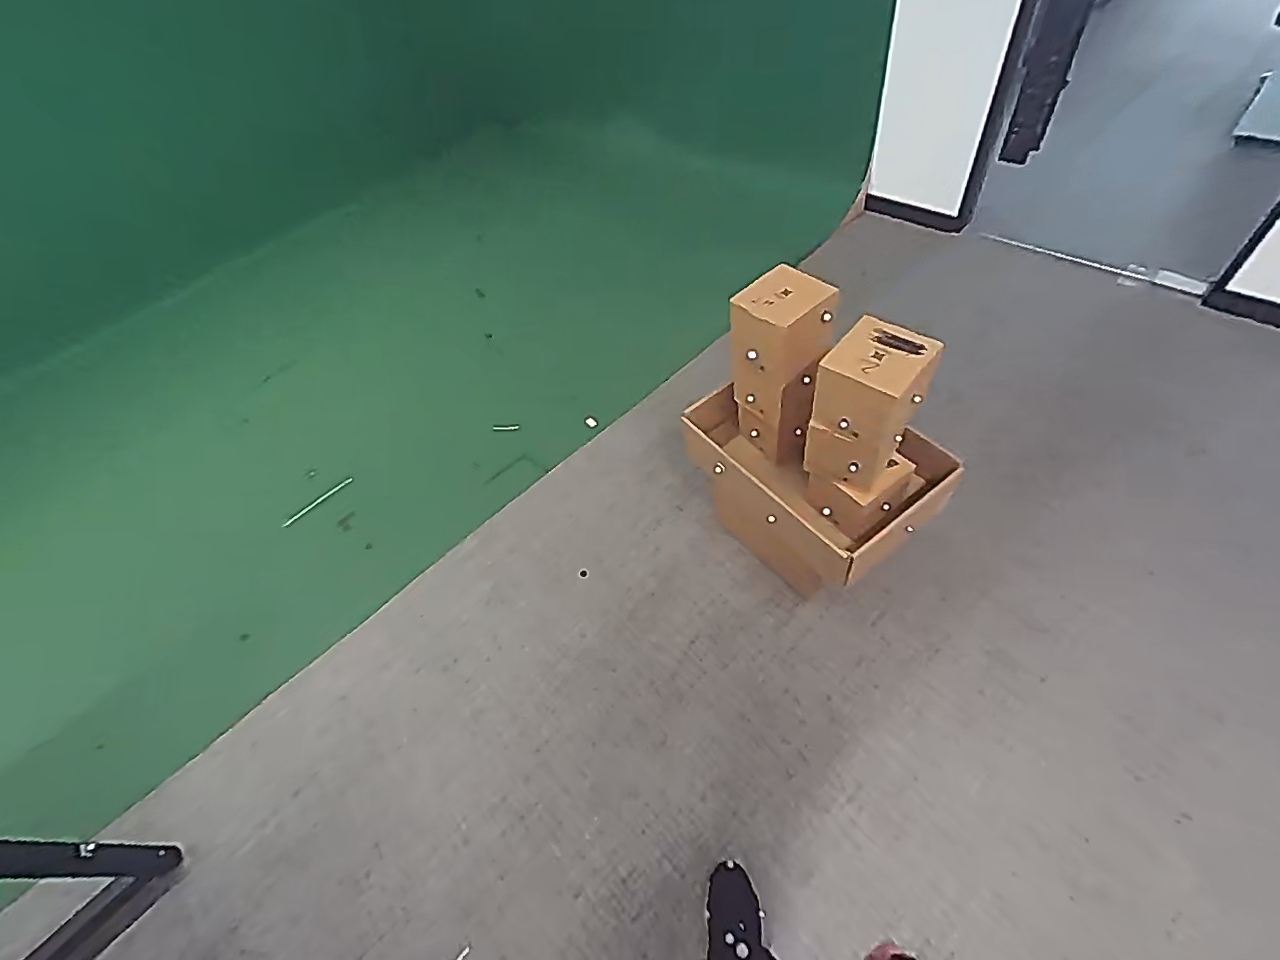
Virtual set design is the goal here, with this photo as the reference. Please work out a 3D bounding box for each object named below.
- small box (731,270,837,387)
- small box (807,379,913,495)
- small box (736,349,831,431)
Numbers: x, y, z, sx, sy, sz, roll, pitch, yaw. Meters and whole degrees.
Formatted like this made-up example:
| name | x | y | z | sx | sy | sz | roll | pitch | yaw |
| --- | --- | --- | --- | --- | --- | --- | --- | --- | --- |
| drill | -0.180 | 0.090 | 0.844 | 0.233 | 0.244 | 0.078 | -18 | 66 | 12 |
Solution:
| name | x | y | z | sx | sy | sz | roll | pitch | yaw |
| --- | --- | --- | --- | --- | --- | --- | --- | --- | --- |
| small box | 0.331 | -0.353 | 1.266 | 0.179 | 0.176 | 0.168 | -37 | 54 | -15 |
| small box | 0.496 | -0.094 | 1.241 | 0.168 | 0.176 | 0.179 | 27 | 63 | 28 |
| small box | 0.364 | -0.262 | 1.399 | 0.179 | 0.176 | 0.168 | -37 | 55 | -15 |
